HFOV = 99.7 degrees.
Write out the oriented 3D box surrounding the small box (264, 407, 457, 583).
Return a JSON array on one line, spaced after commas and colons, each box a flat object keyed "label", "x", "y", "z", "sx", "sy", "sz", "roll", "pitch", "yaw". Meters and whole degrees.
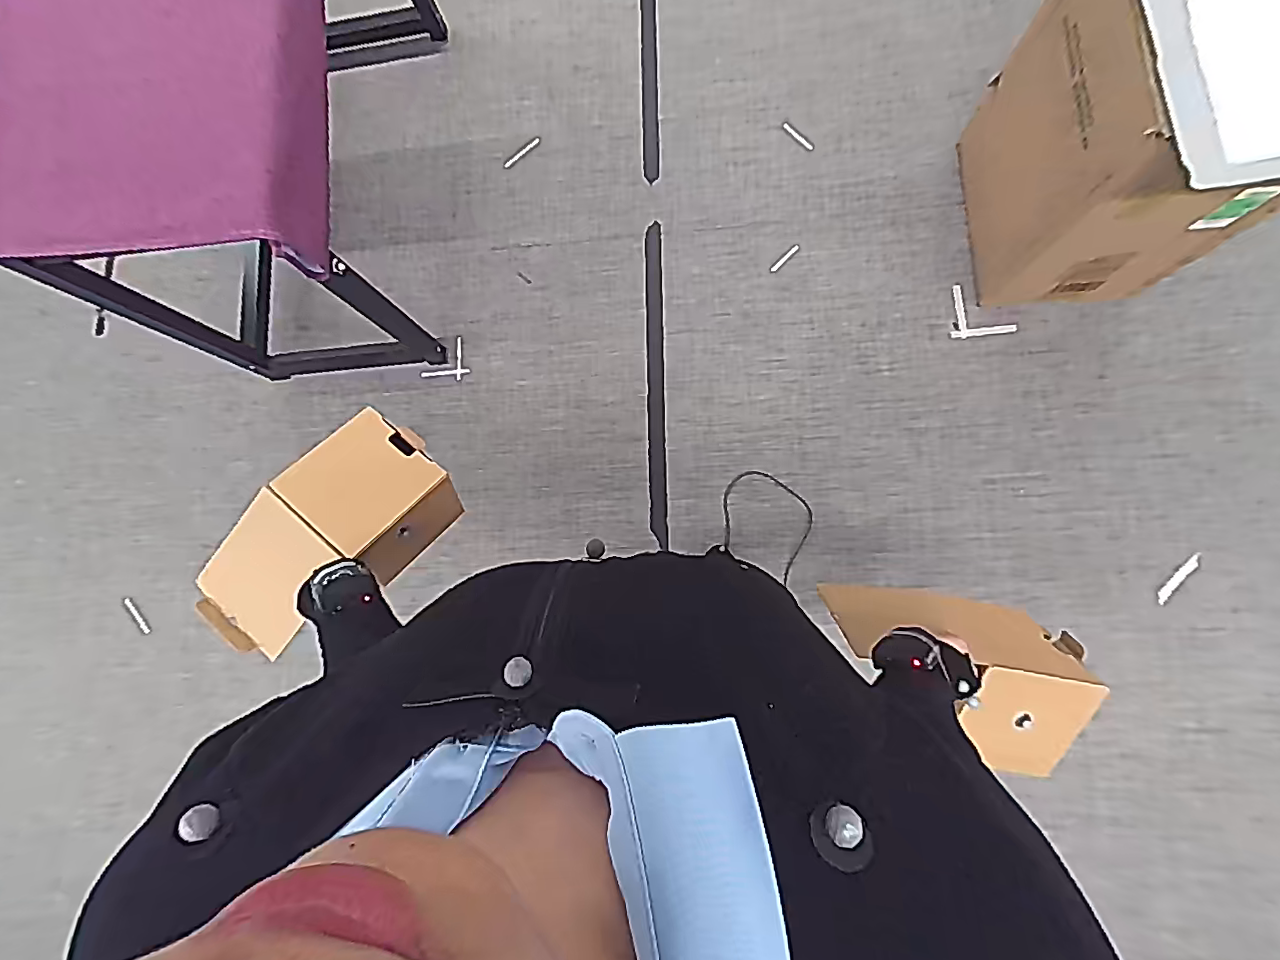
[{"label": "small box", "x": -0.402, "y": 0.032, "z": 0.817, "sx": 0.168, "sy": 0.176, "sz": 0.179, "roll": 39, "pitch": 66, "yaw": 7}]
